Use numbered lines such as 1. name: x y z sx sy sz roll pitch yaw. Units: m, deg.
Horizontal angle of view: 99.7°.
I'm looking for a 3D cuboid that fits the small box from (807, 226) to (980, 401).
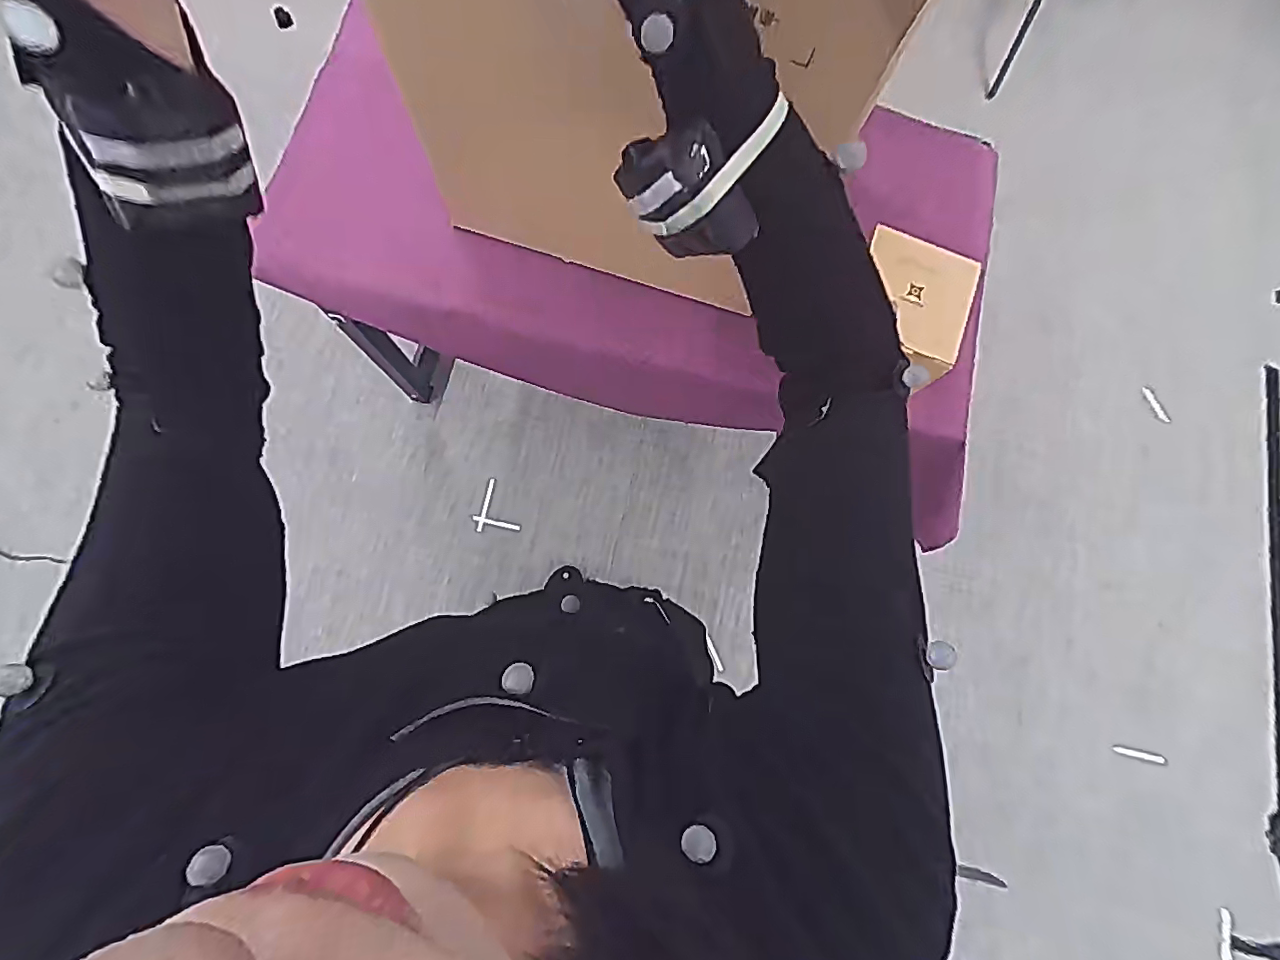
1. small box: 0.381 -0.246 0.841 0.168 0.176 0.179 21 76 -1
